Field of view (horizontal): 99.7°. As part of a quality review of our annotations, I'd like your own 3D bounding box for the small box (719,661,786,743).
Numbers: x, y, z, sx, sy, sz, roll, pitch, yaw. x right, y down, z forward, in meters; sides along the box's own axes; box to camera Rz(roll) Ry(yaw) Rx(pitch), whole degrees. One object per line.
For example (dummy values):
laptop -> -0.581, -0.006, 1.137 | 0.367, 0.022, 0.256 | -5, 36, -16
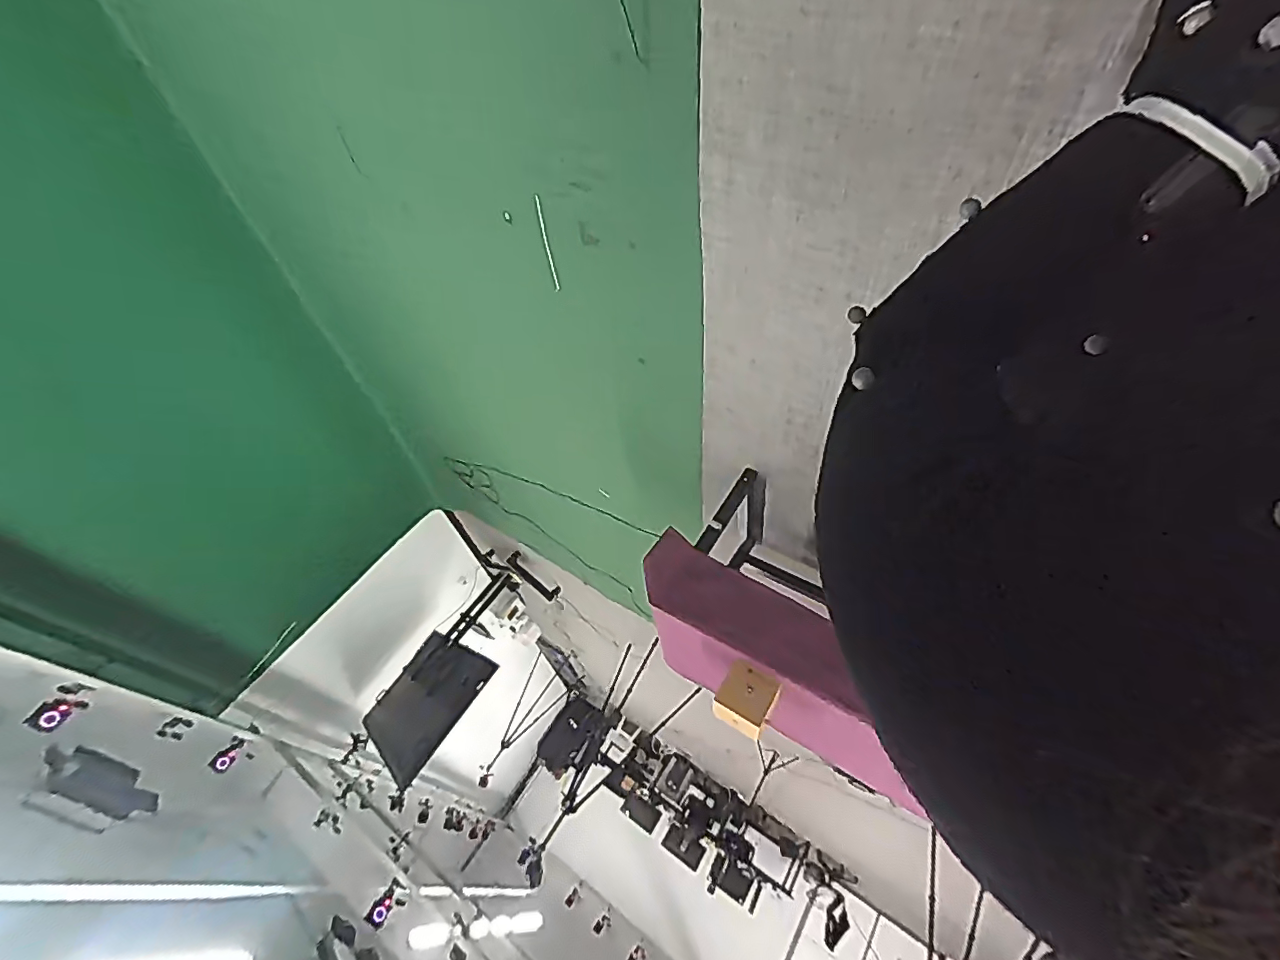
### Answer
small box -> 0.372, 0.729, 1.787 | 0.168, 0.176, 0.179 | 24, 149, 25
